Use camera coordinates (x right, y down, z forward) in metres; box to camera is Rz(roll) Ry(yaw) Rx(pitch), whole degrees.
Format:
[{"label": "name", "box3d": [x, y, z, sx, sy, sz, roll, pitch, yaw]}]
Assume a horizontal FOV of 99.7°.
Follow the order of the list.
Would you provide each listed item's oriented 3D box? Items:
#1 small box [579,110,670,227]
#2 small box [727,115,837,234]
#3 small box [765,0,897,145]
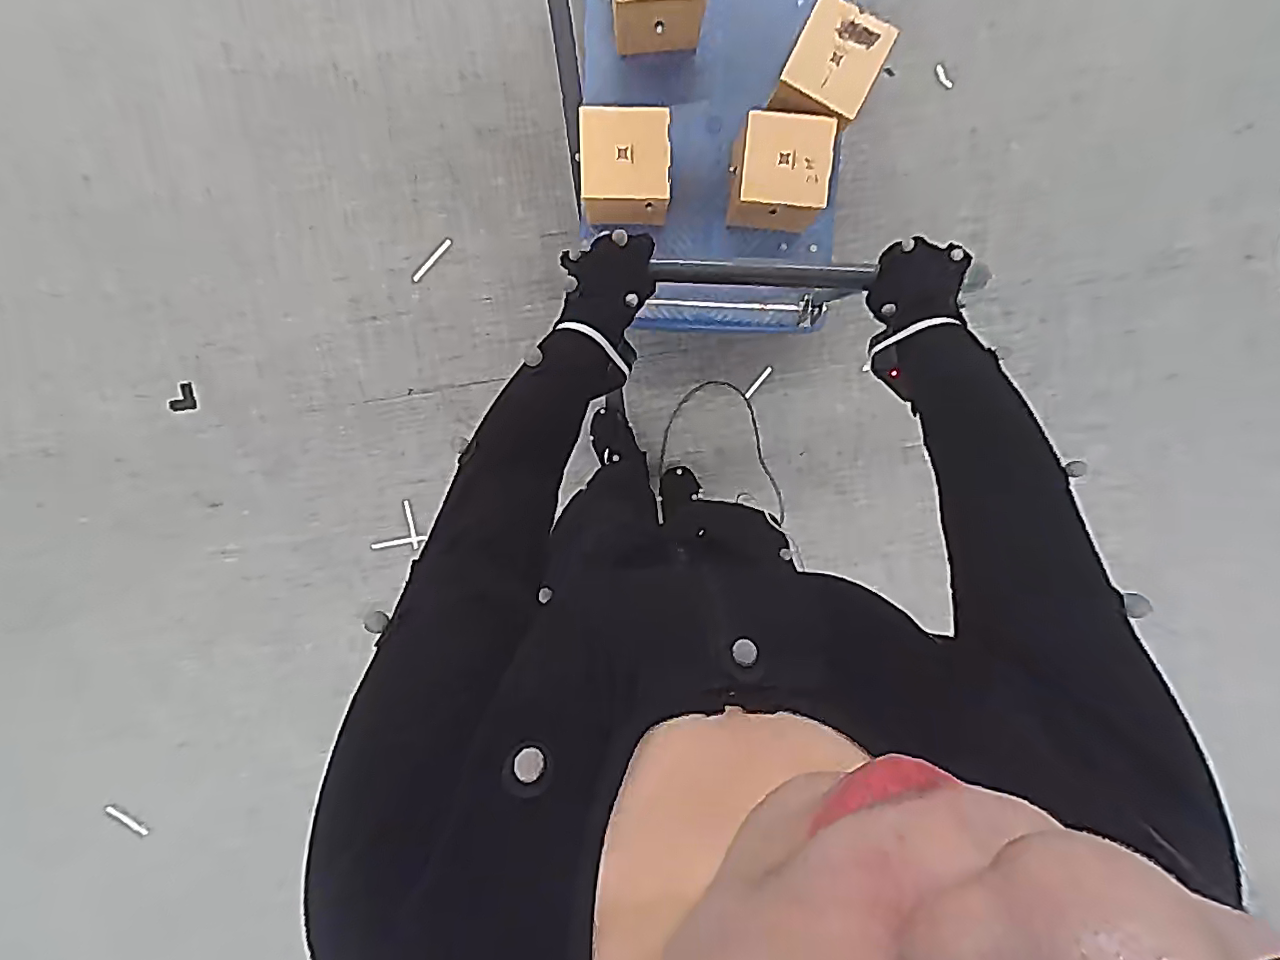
[{"label": "small box", "box3d": [-0.032, -0.636, 1.124, 0.179, 0.176, 0.168, -1, 99, -2]}, {"label": "small box", "box3d": [0.286, -0.628, 1.130, 0.179, 0.176, 0.168, 5, 99, -1]}, {"label": "small box", "box3d": [0.376, -0.810, 1.102, 0.168, 0.176, 0.179, 27, 99, -5]}]
